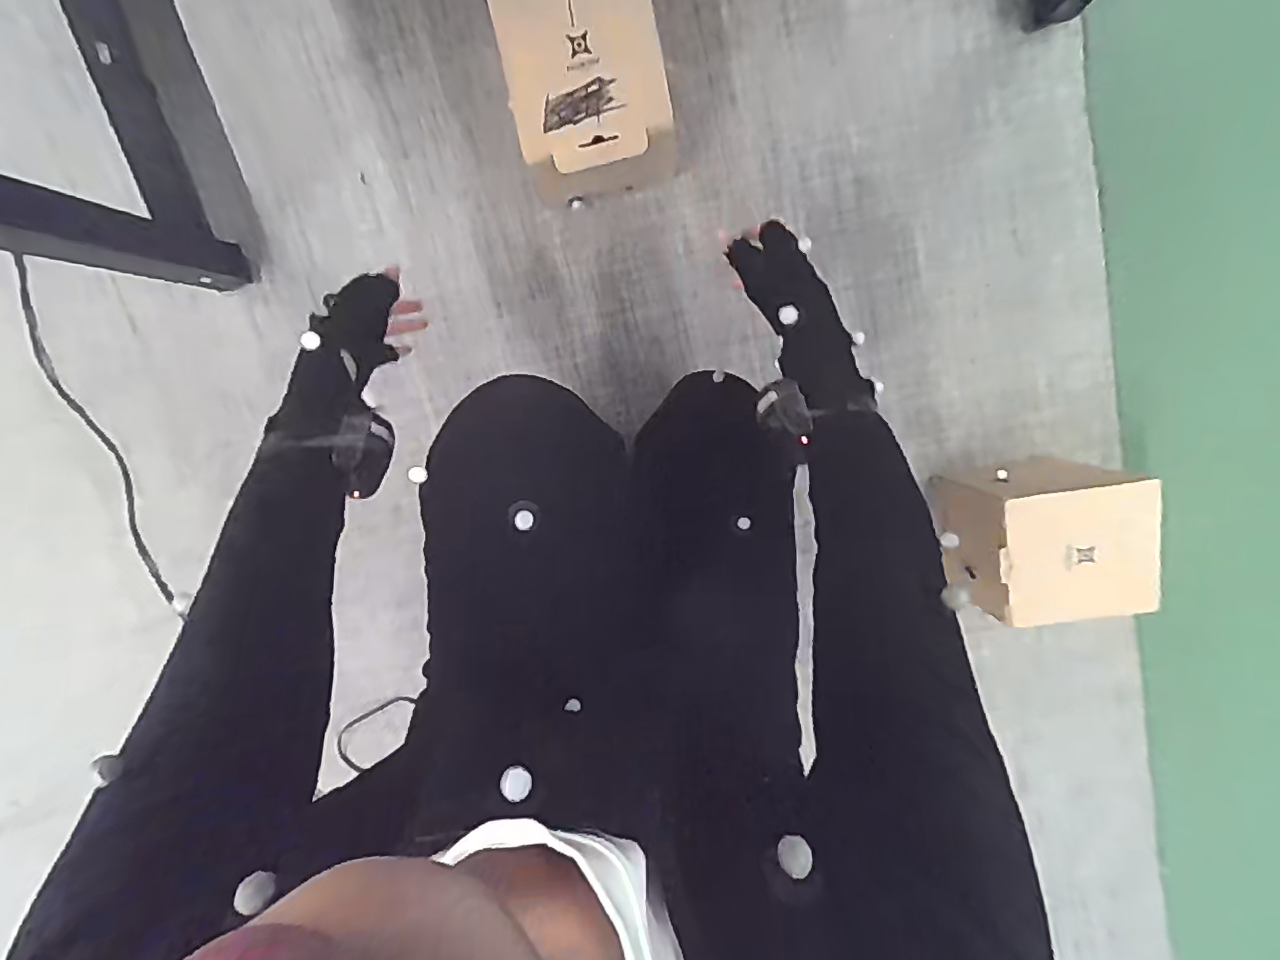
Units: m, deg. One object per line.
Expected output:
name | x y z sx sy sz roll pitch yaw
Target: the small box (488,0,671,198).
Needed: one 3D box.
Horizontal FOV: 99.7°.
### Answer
small box | -0.058 -0.456 0.638 0.168 0.176 0.179 -11 99 5
